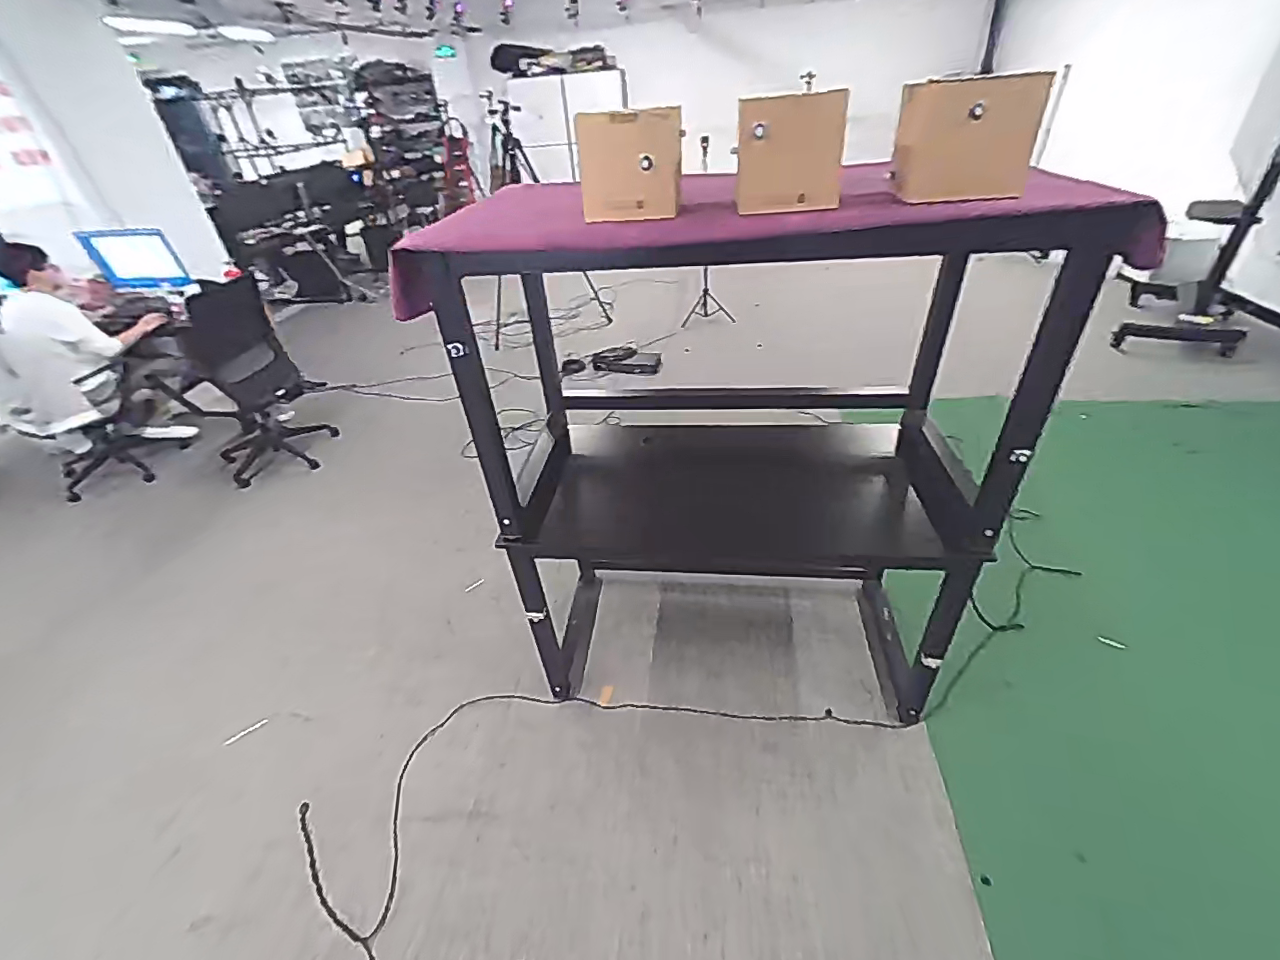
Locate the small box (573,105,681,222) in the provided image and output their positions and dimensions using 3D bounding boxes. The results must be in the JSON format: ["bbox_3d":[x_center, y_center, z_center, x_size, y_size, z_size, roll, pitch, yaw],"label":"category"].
[{"bbox_3d":[-0.013,-0.579,0.994,0.168,0.176,0.179,3,36,9],"label":"small box"}]

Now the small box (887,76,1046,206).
[{"bbox_3d":[0.534,-0.572,0.920,0.179,0.176,0.168,1,36,8],"label":"small box"}]
